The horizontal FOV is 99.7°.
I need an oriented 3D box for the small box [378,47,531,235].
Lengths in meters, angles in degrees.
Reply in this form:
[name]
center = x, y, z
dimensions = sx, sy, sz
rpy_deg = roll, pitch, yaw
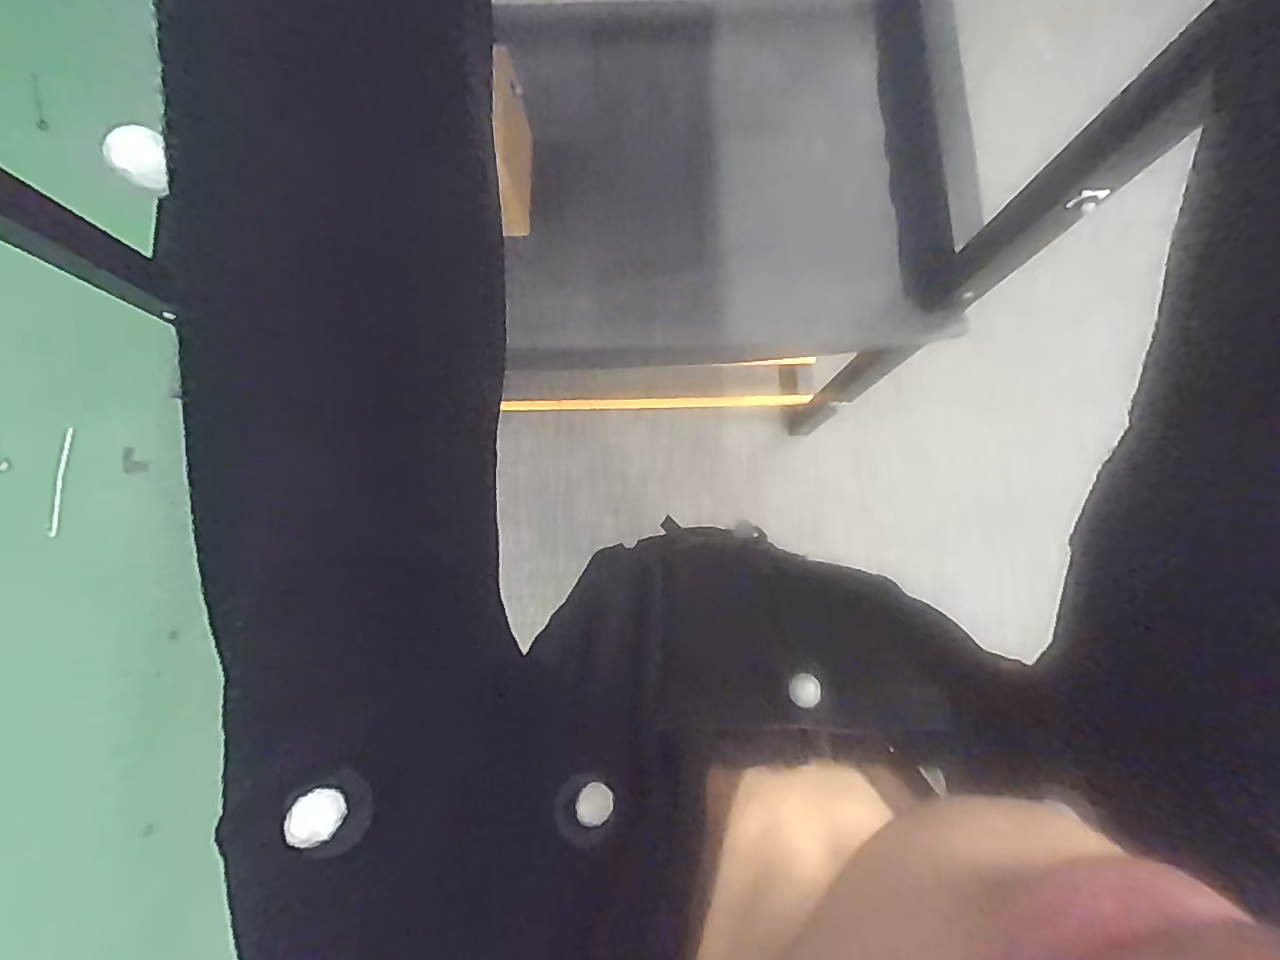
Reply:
[small box]
center = -0.258, -0.481, 0.790
dimensions = 0.168, 0.176, 0.179
rpy_deg = 0, 81, 0
